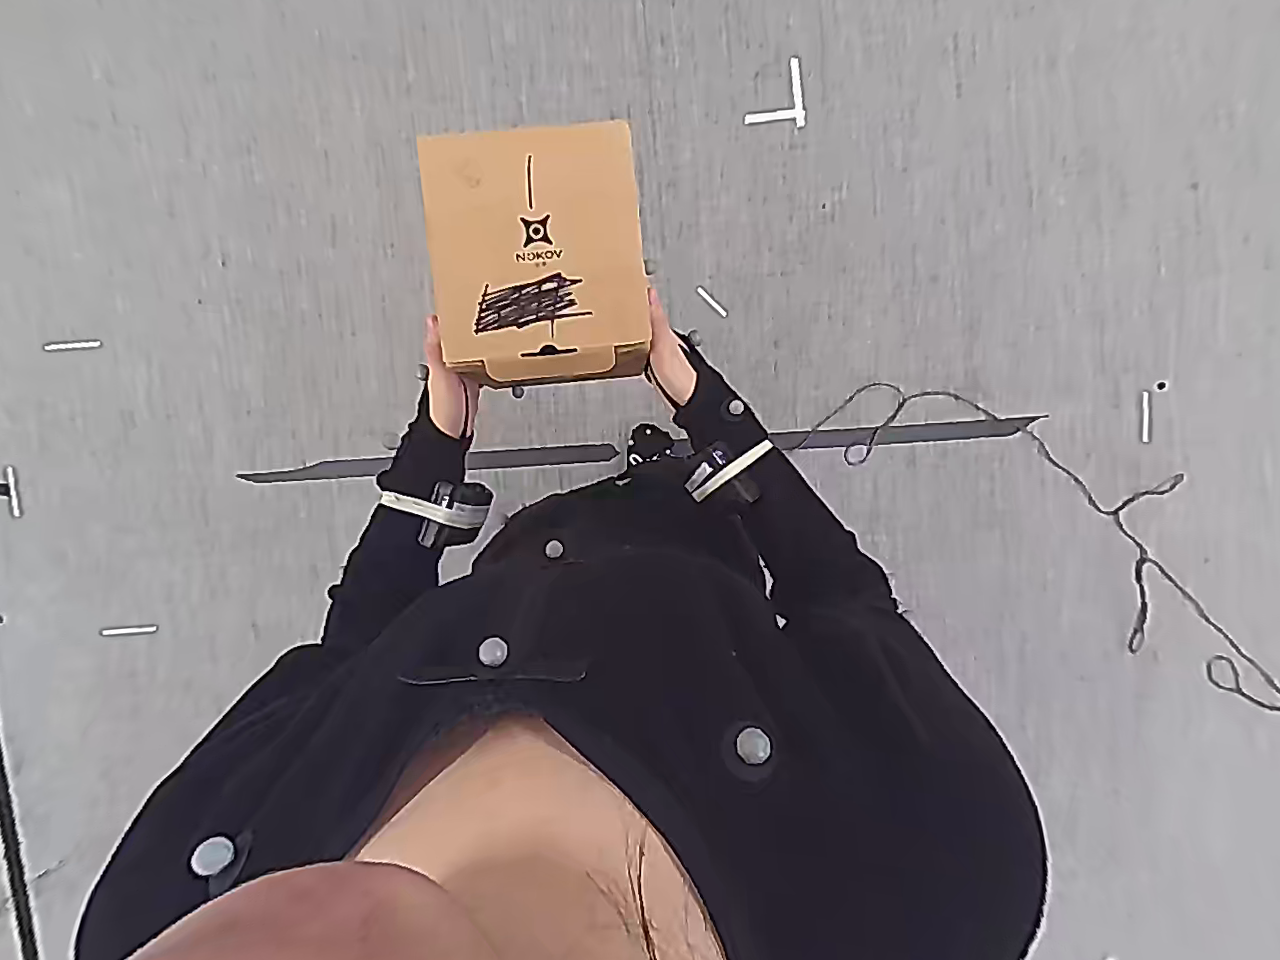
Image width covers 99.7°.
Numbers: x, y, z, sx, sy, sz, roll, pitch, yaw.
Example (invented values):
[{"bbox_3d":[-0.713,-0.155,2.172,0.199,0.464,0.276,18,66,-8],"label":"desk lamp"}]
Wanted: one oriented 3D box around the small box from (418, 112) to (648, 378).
[{"bbox_3d":[-0.083,-0.193,0.497,0.168,0.176,0.179,-6,92,-2],"label":"small box"}]
